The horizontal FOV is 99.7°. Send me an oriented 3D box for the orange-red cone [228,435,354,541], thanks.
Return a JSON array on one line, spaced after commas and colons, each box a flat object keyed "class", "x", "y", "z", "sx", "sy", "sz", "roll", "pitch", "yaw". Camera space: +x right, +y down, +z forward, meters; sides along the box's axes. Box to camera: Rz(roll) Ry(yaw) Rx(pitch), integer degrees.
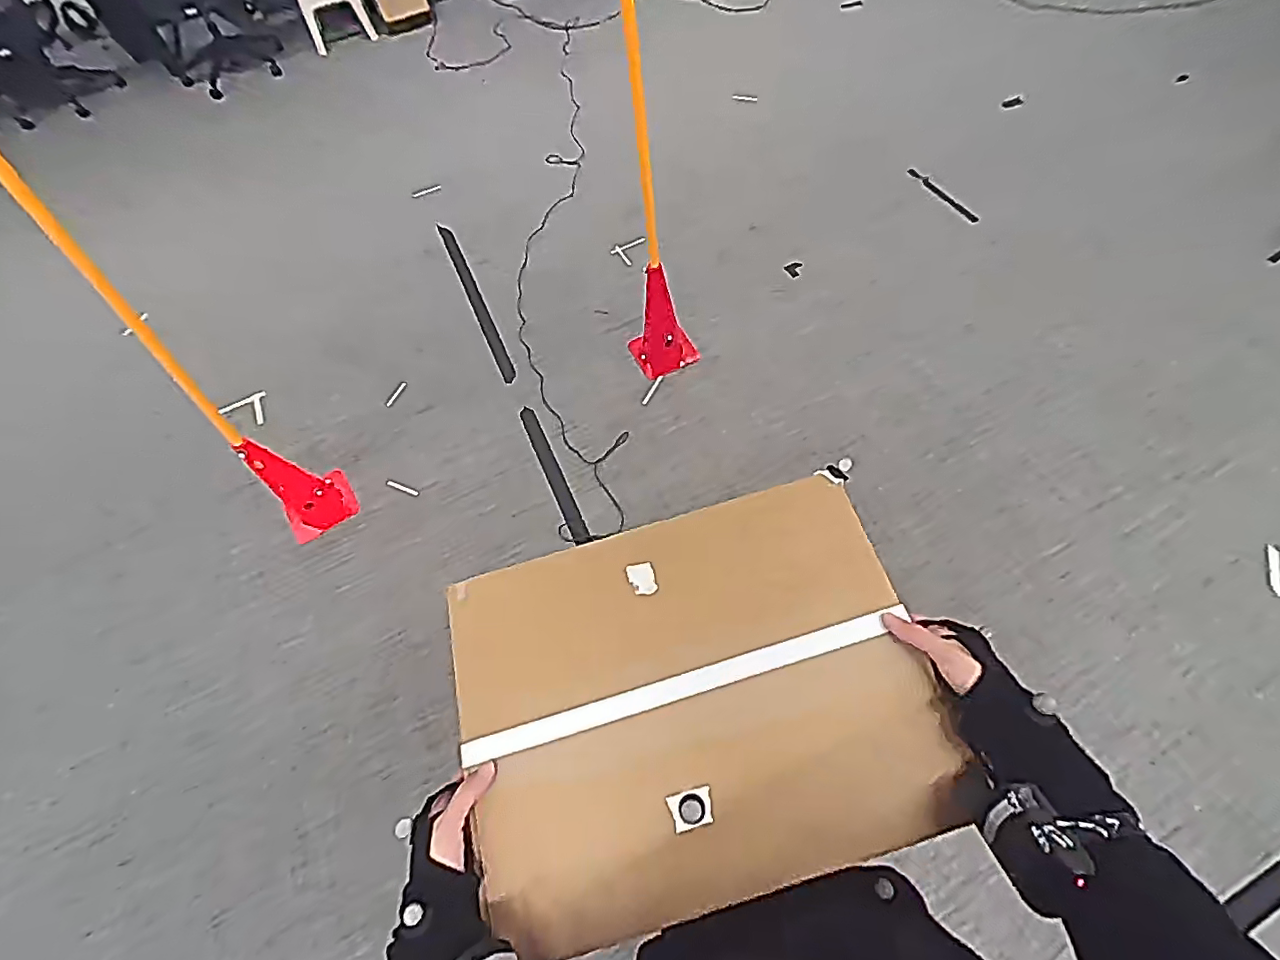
[{"class": "orange-red cone", "x": -1.016, "y": -0.010, "z": 1.527, "sx": 0.199, "sy": 0.360, "sz": 0.198, "roll": -33, "pitch": 61, "yaw": -11}]
